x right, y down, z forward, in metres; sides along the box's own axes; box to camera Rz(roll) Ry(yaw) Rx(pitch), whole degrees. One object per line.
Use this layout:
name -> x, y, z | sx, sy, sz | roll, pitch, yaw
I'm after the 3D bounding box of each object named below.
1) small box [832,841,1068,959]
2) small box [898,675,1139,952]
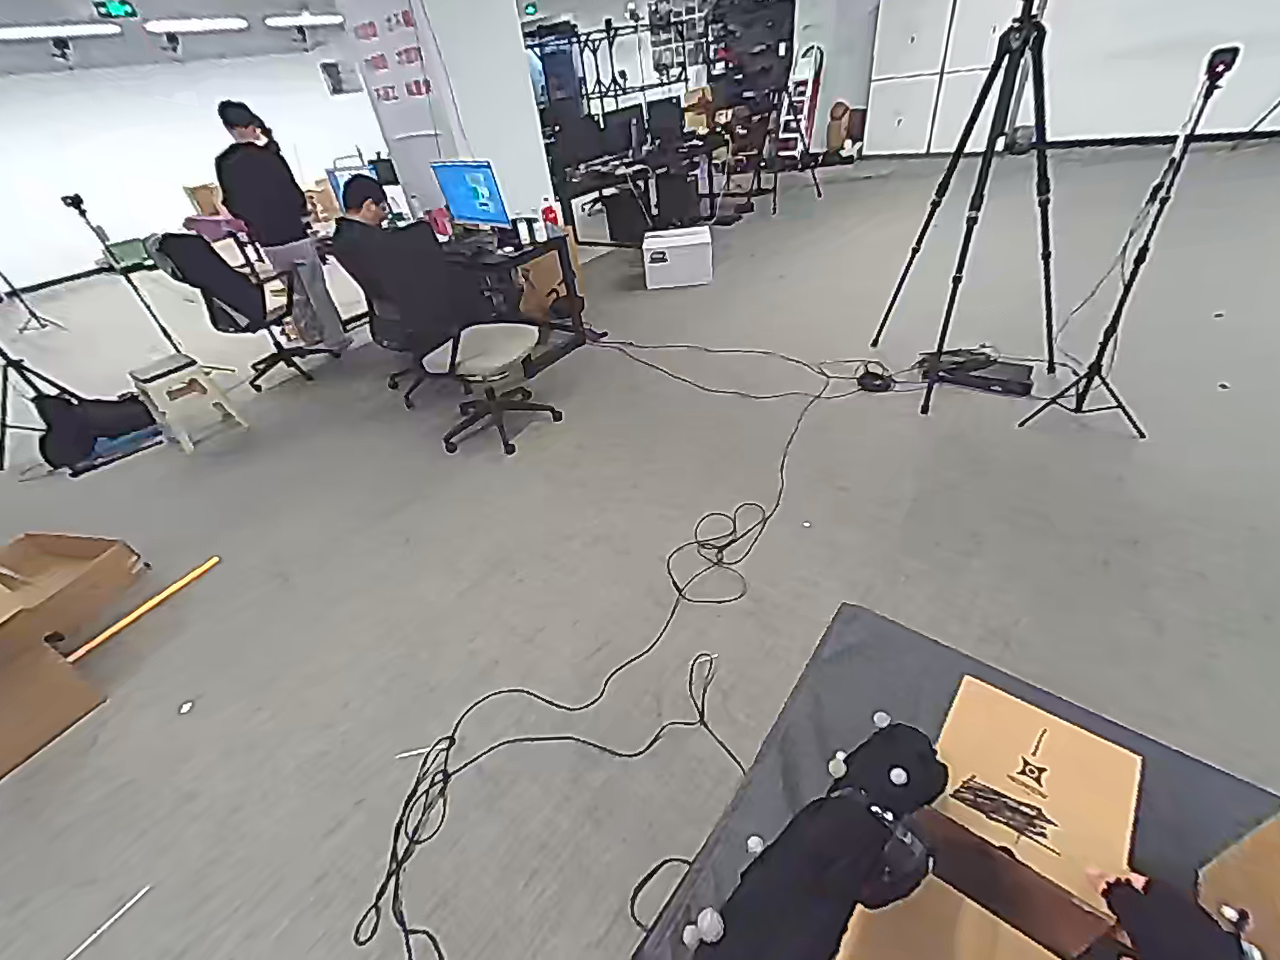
small box -> 0.253, 0.478, 0.474 | 0.168, 0.176, 0.179 | 21, 47, 34
small box -> 0.403, 0.365, 0.598 | 0.168, 0.176, 0.179 | 23, 46, 35
